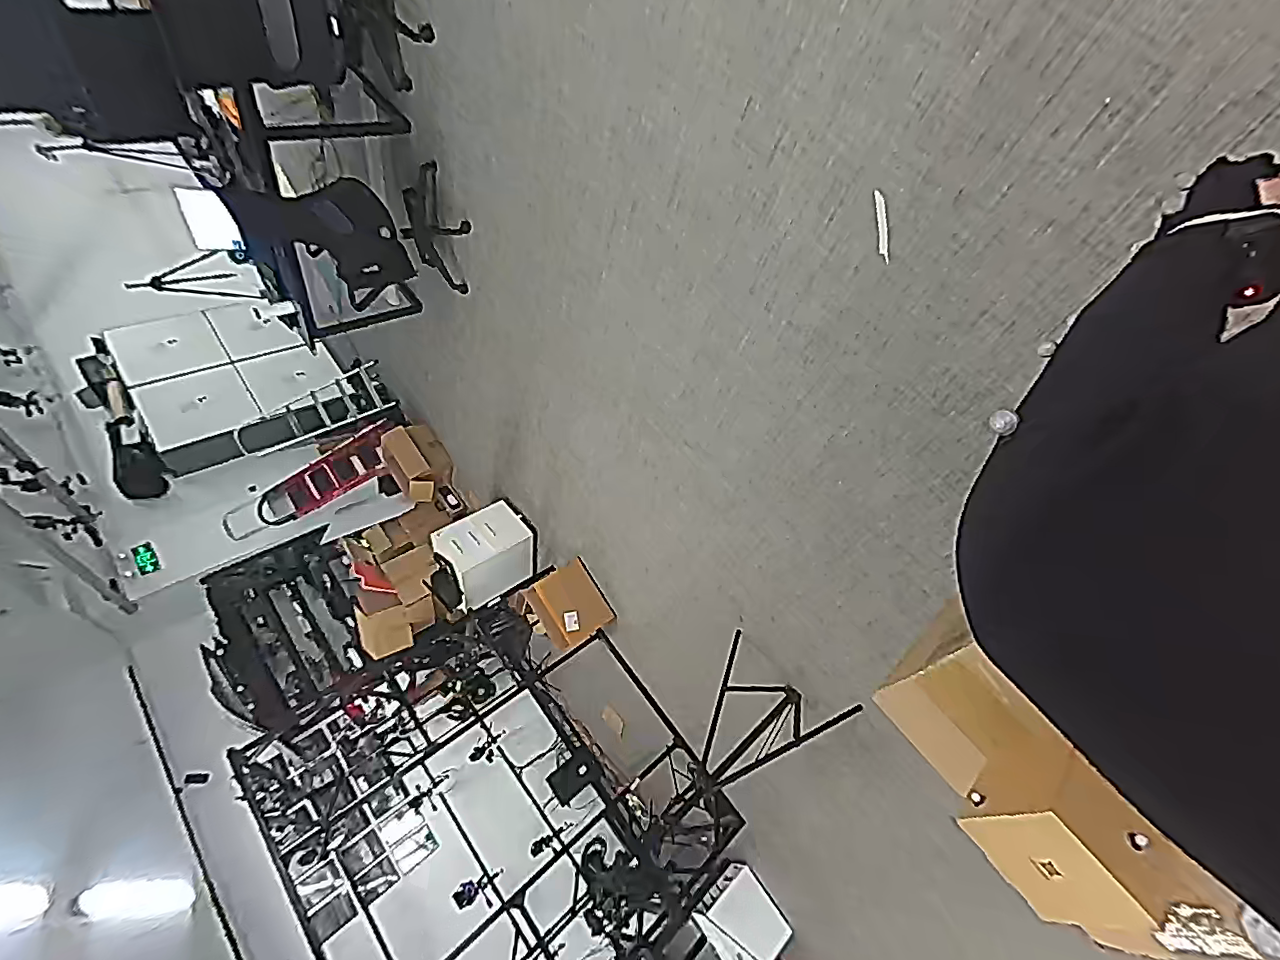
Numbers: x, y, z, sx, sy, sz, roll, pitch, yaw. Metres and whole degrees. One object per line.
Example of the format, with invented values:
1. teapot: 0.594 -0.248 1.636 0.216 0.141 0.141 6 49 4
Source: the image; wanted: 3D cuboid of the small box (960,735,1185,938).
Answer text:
1. small box: 0.611 0.493 0.766 0.168 0.176 0.179 49 146 17
